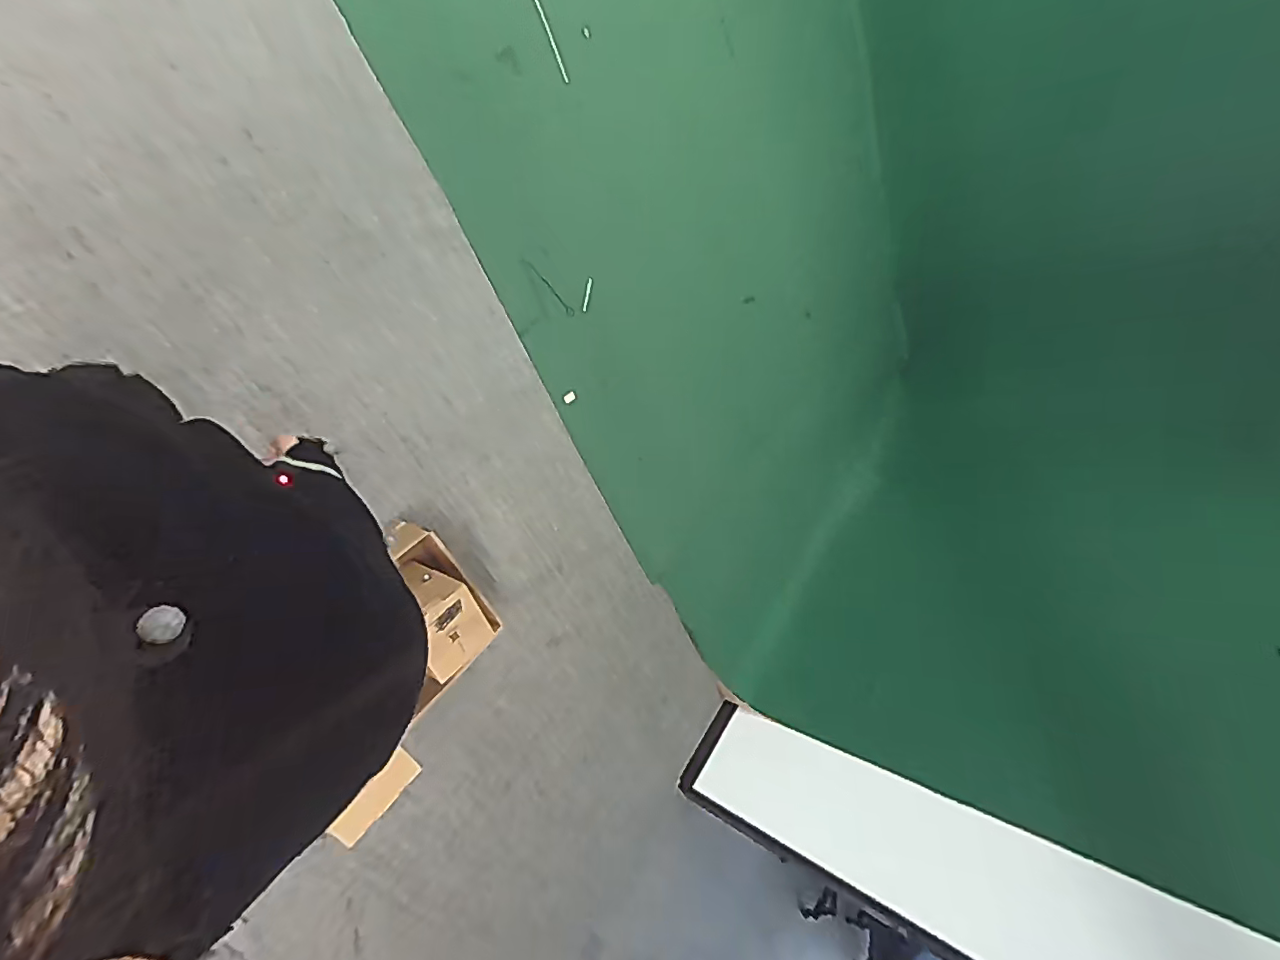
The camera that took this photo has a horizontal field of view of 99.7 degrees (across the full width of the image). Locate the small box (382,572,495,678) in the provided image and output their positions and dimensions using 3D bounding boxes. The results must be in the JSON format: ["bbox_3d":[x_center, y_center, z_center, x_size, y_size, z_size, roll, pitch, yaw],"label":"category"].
[{"bbox_3d":[-0.497,0.344,1.326,0.168,0.176,0.179,-40,123,-34],"label":"small box"}]

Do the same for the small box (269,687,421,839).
[{"bbox_3d":[-0.570,0.536,1.047,0.168,0.176,0.179,-44,124,-34],"label":"small box"}]
